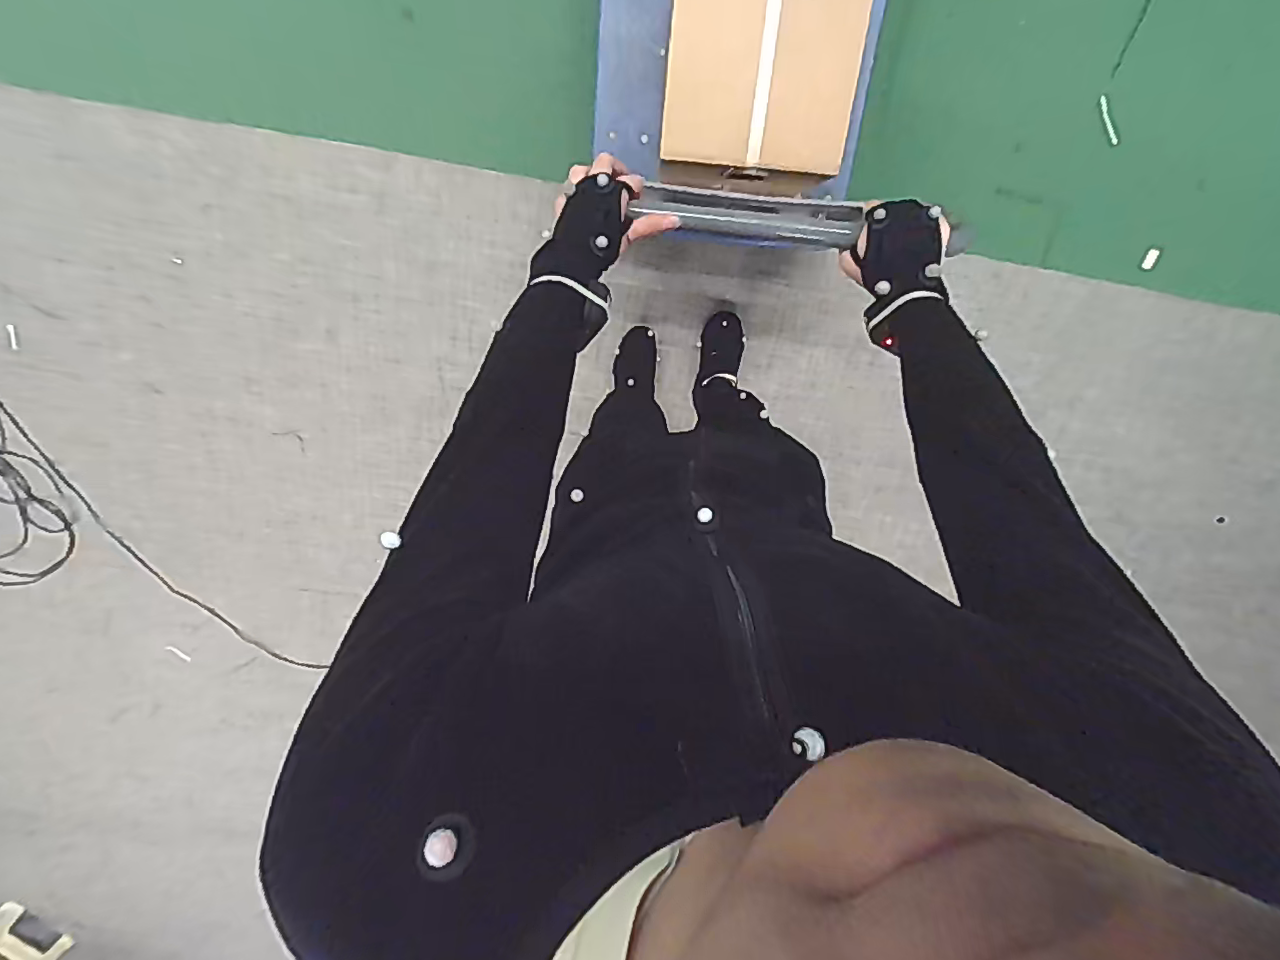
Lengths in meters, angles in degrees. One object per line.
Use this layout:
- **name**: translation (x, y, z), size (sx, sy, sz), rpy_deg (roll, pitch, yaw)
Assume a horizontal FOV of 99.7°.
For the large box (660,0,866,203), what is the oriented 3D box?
- **large box**: translation (0.207, -0.771, 1.017), size (0.320, 0.320, 0.408), rpy_deg (5, 110, -1)
